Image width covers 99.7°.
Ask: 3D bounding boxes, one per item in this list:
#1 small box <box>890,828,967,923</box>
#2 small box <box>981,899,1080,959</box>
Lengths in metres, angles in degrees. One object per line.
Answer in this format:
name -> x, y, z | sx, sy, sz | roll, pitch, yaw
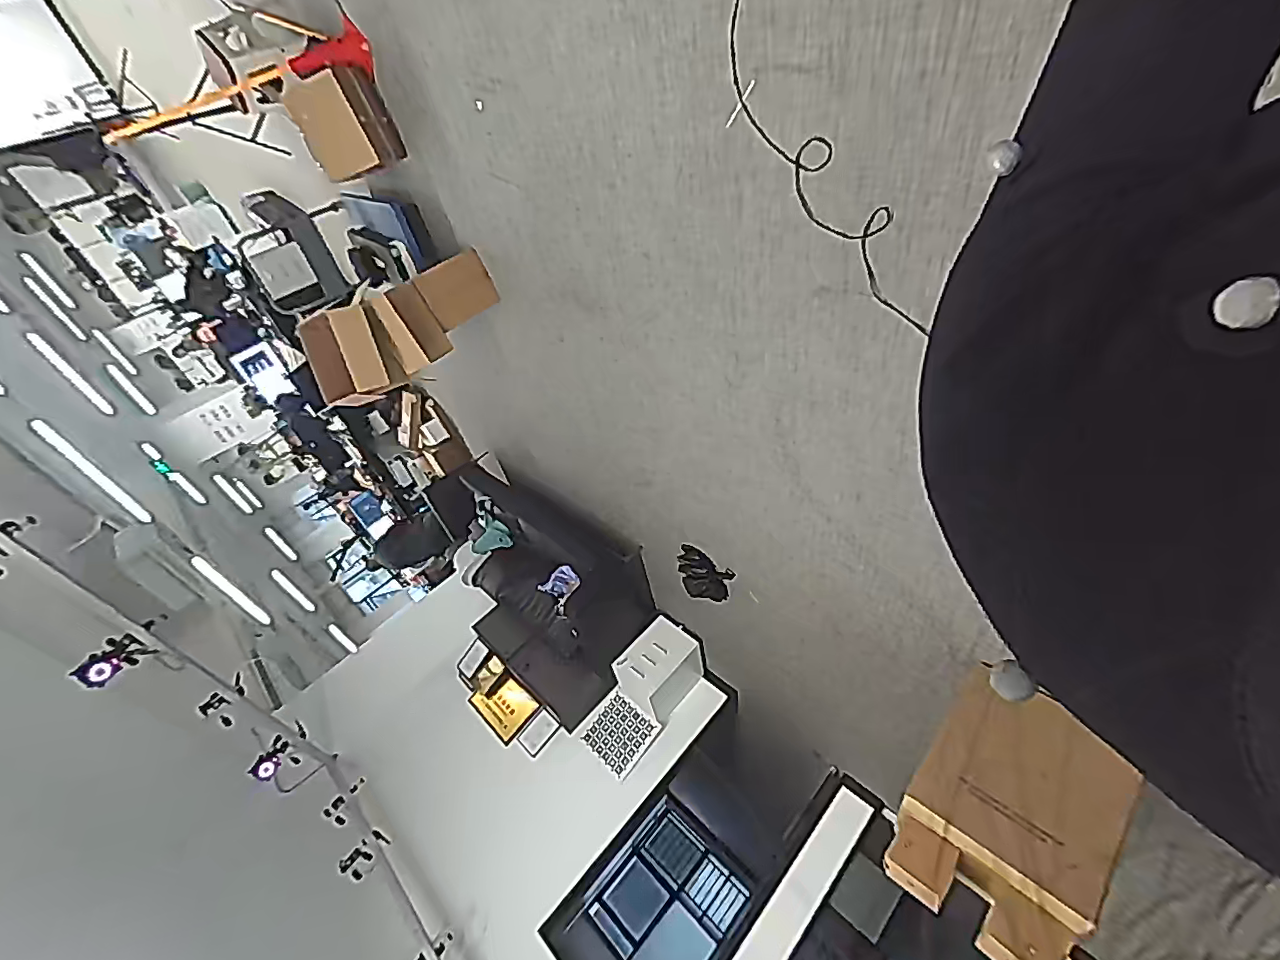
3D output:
small box -> 0.965, 1.312, 1.812 | 0.179, 0.176, 0.168 | 19, 139, 45
small box -> 1.167, 1.411, 1.615 | 0.179, 0.176, 0.168 | 30, 144, 37
